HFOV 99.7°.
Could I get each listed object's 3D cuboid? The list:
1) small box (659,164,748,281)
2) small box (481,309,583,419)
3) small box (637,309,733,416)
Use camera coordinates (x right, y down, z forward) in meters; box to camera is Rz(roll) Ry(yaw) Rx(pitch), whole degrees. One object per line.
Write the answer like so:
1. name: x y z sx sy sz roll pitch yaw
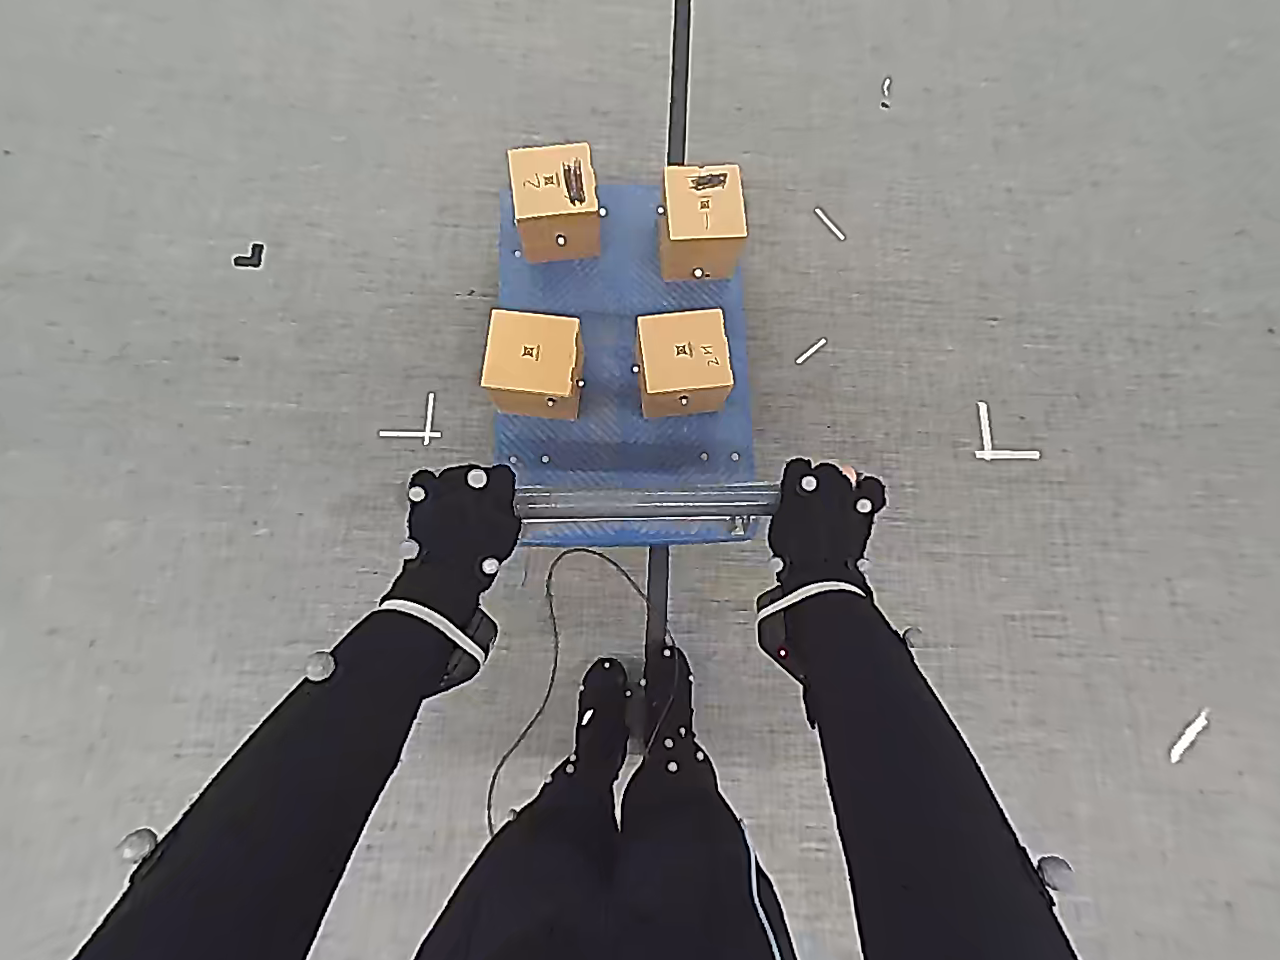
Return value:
1. small box: 0.135 -0.570 1.209 0.168 0.176 0.179 -3 80 -3
2. small box: -0.217 -0.235 1.131 0.179 0.176 0.168 6 79 -3
3. small box: 0.087 -0.240 1.145 0.179 0.176 0.168 -6 80 -3
